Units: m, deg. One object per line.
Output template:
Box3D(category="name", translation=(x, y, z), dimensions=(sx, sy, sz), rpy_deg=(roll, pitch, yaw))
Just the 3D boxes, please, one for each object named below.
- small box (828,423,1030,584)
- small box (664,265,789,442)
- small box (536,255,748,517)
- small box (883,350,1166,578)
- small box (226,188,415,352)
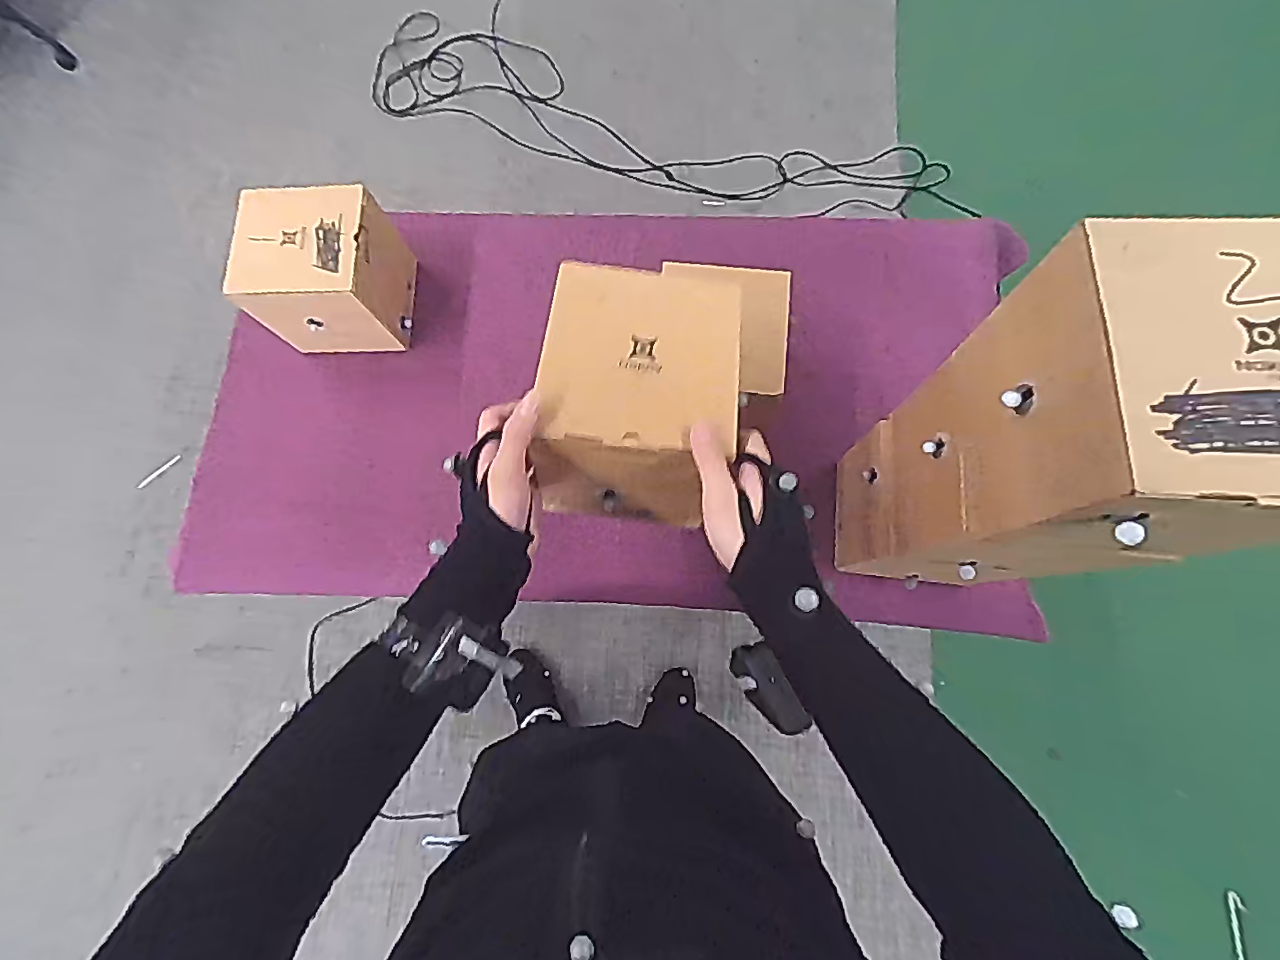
Box3D(category="small box", translation=(0.359, 0.040, 0.695), dimensions=(0.179, 0.176, 0.168), rpy_deg=(6, 75, 3))
Box3D(category="small box", translation=(0.102, -0.168, 0.756), dimensions=(0.168, 0.176, 0.179), rpy_deg=(7, 77, 4))
Box3D(category="small box", translation=(0.001, -0.080, 0.524), dimensions=(0.168, 0.176, 0.179), rpy_deg=(7, 68, -2))
Box3D(category="small box", translation=(0.356, -0.005, 0.538), dimensions=(0.168, 0.176, 0.179), rpy_deg=(6, 76, 5))
Box3D(category="small box", translation=(-0.456, -0.301, 0.803), dimensions=(0.179, 0.176, 0.168), rpy_deg=(-1, 76, 2))
